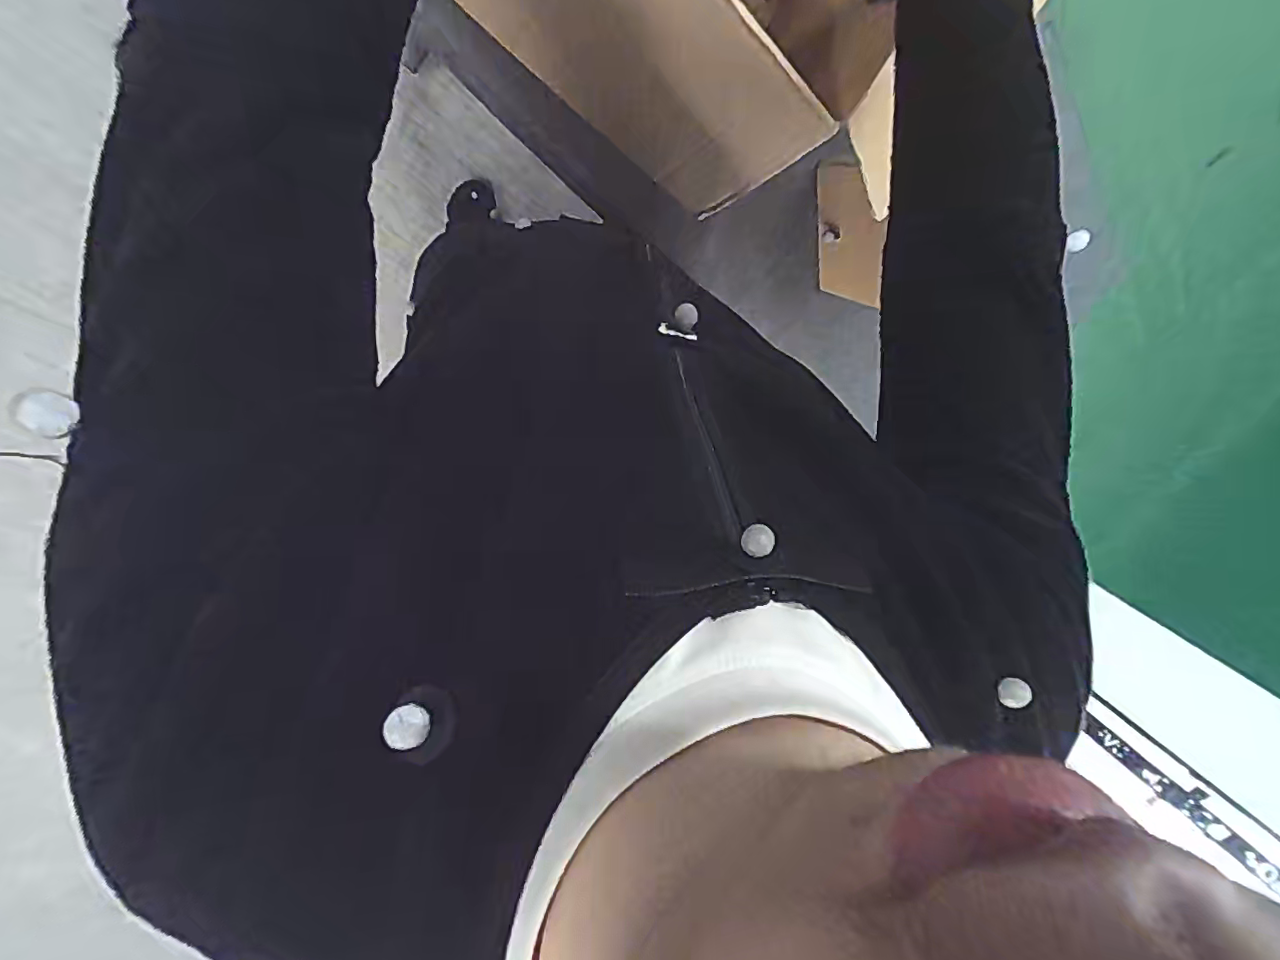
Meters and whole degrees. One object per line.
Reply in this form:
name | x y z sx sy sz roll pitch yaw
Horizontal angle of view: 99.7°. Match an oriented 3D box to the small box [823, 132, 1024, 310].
small box | 0.366 -0.356 0.734 0.168 0.176 0.179 -19 124 -8
